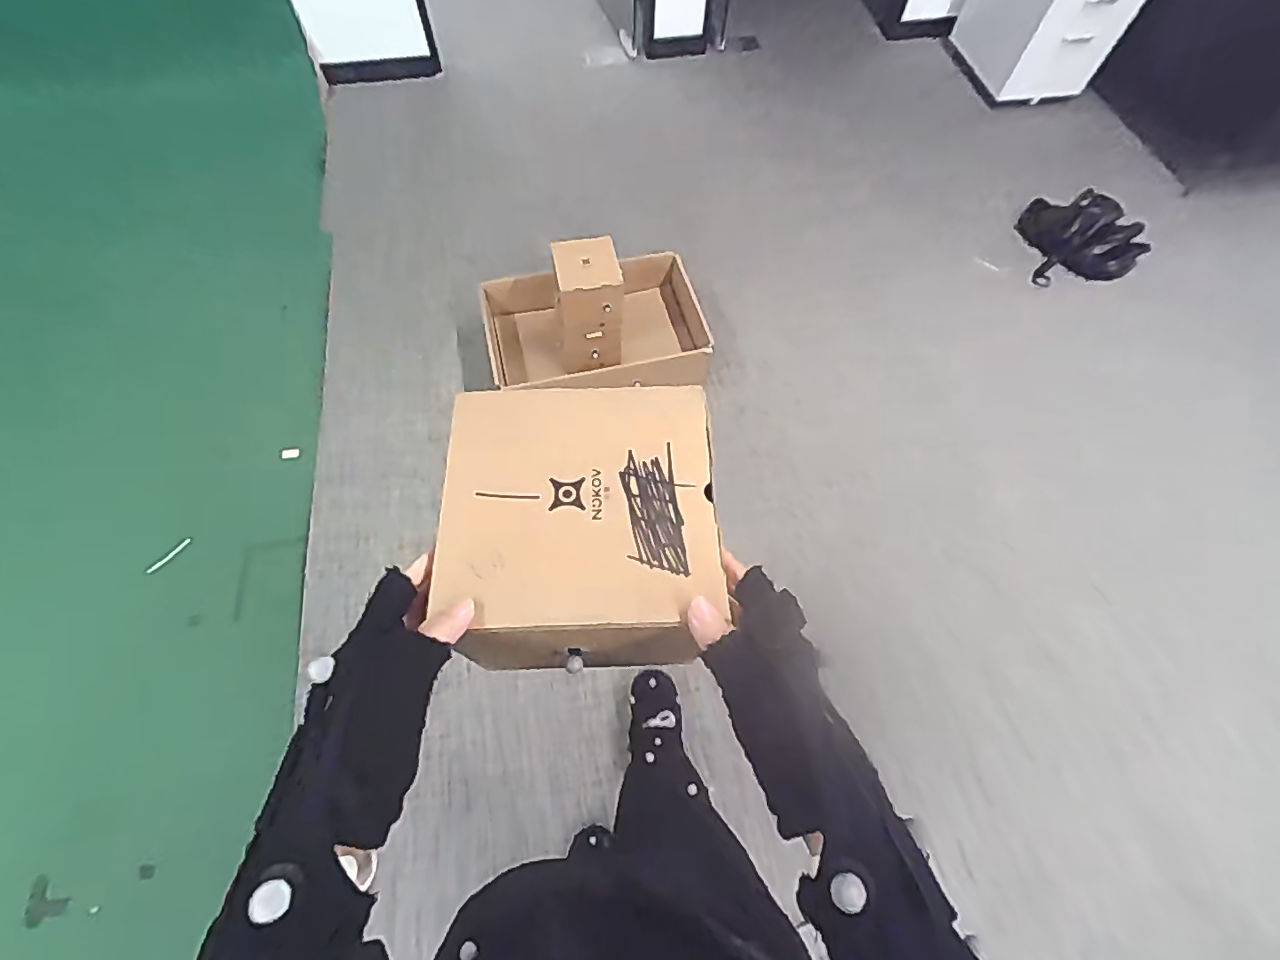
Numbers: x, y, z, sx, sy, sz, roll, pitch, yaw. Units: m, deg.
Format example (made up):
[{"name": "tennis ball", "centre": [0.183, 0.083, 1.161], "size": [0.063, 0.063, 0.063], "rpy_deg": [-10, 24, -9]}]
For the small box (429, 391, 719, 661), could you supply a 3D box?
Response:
[{"name": "small box", "centre": [-0.043, 0.045, 0.428], "size": [0.179, 0.176, 0.168], "rpy_deg": [-2, 64, -1]}]

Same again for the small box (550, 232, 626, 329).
[{"name": "small box", "centre": [-0.135, -0.525, 1.450], "size": [0.168, 0.176, 0.179], "rpy_deg": [-14, 66, -9]}]

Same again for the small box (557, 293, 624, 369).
[{"name": "small box", "centre": [-0.143, -0.449, 1.612], "size": [0.168, 0.176, 0.179], "rpy_deg": [-12, 65, -7]}]
